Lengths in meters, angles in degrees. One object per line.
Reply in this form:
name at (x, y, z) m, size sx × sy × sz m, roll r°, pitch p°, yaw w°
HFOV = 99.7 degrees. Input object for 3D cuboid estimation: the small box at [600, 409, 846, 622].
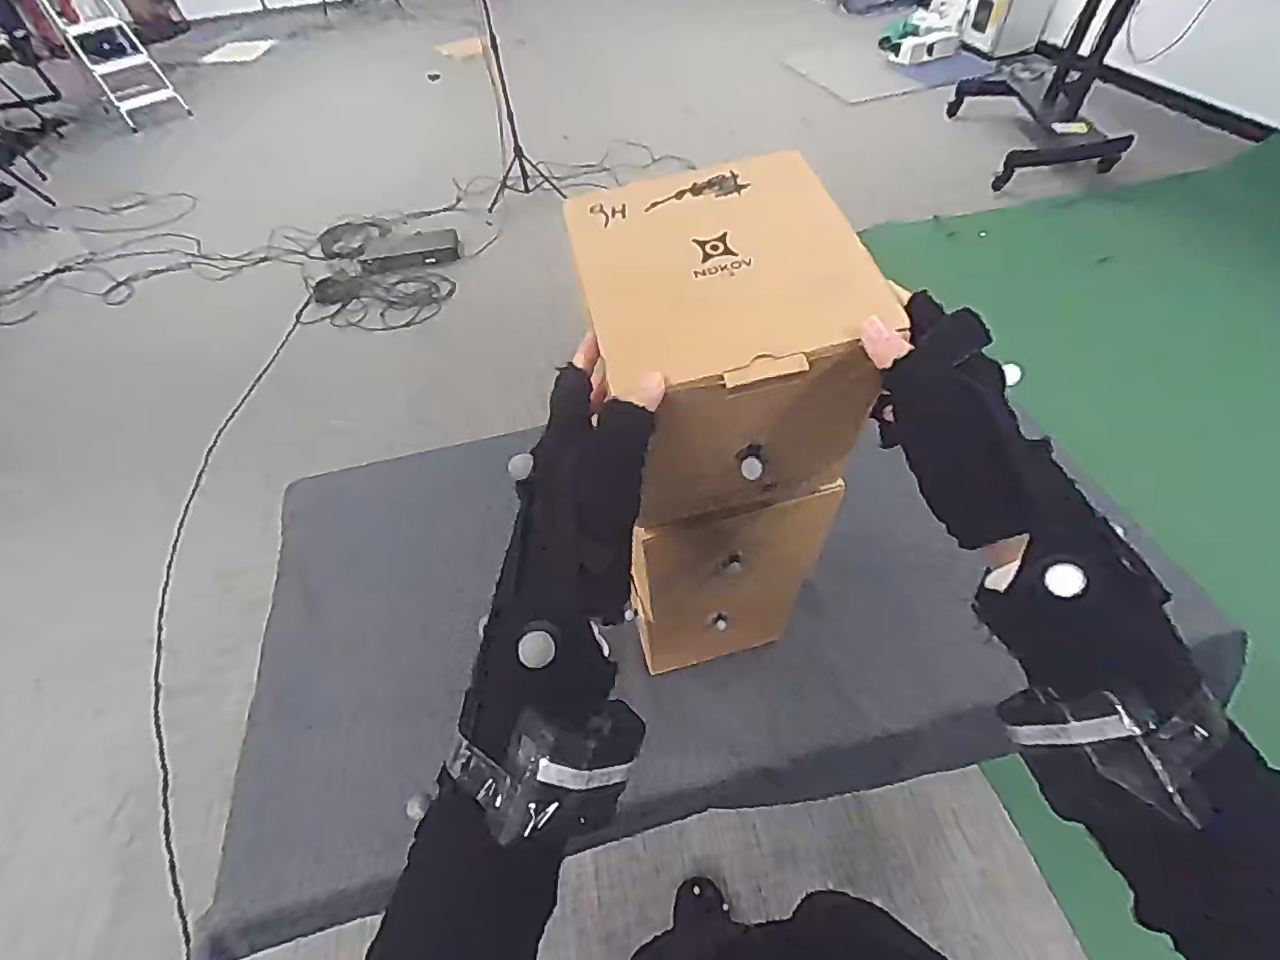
small box at (0.069, 0.017, 0.543) m, size 0.179 × 0.176 × 0.168 m, roll -16°, pitch 54°, yaw -8°

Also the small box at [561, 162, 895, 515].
small box at (0.050, -0.088, 0.397) m, size 0.168 × 0.176 × 0.179 m, roll -13°, pitch 62°, yaw -2°

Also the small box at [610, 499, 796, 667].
small box at (0.071, 0.114, 0.675) m, size 0.179 × 0.176 × 0.168 m, roll -13°, pitch 53°, yaw -6°
